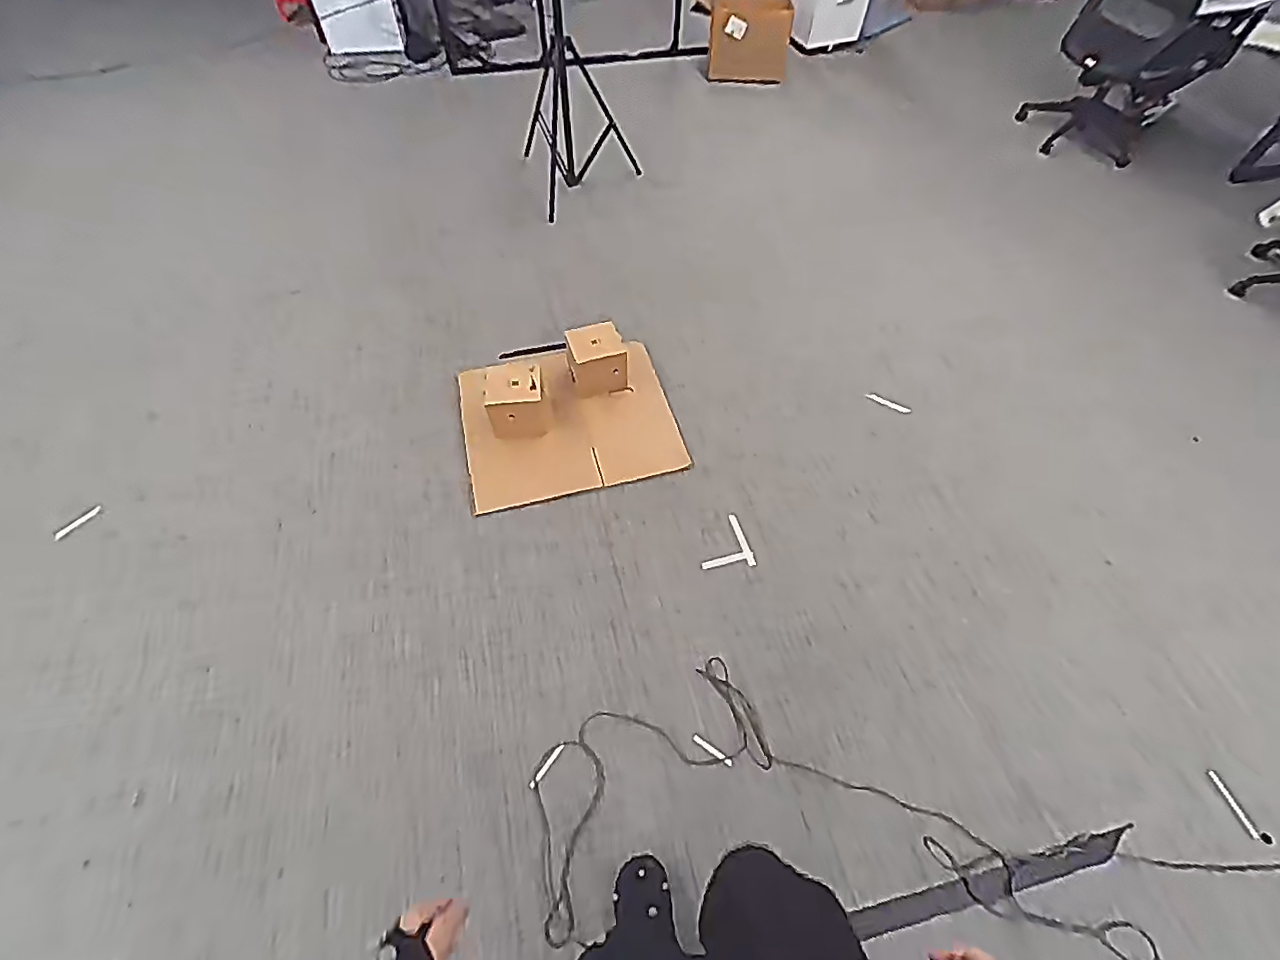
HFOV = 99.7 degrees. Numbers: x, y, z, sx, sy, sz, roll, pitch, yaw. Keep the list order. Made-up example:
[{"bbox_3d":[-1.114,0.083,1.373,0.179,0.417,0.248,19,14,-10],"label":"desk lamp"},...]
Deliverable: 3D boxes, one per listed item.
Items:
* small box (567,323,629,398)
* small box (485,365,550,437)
[{"bbox_3d":[-0.145,-0.413,1.884,0.179,0.176,0.168,-16,58,-11],"label":"small box"},{"bbox_3d":[-0.396,-0.255,1.774,0.179,0.176,0.168,-6,58,-3],"label":"small box"}]
